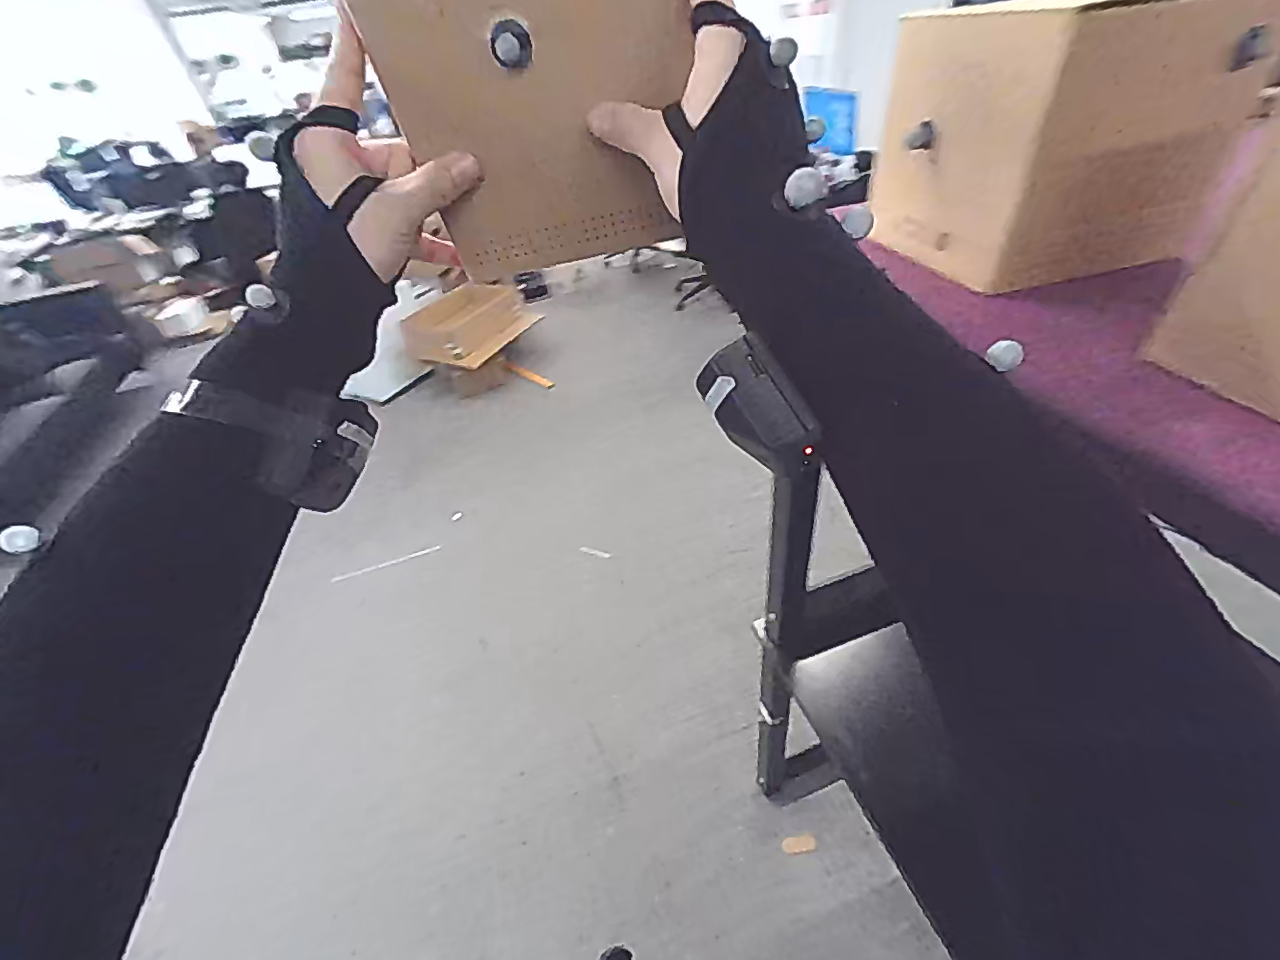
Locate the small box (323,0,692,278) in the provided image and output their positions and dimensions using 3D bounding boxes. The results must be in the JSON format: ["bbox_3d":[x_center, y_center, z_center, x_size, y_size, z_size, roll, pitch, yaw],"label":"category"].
[{"bbox_3d":[-0.069,-0.263,0.374,0.179,0.176,0.168,-11,49,3],"label":"small box"}]

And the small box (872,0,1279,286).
[{"bbox_3d":[0.304,-0.265,0.421,0.179,0.176,0.168,-13,40,-8],"label":"small box"}]
